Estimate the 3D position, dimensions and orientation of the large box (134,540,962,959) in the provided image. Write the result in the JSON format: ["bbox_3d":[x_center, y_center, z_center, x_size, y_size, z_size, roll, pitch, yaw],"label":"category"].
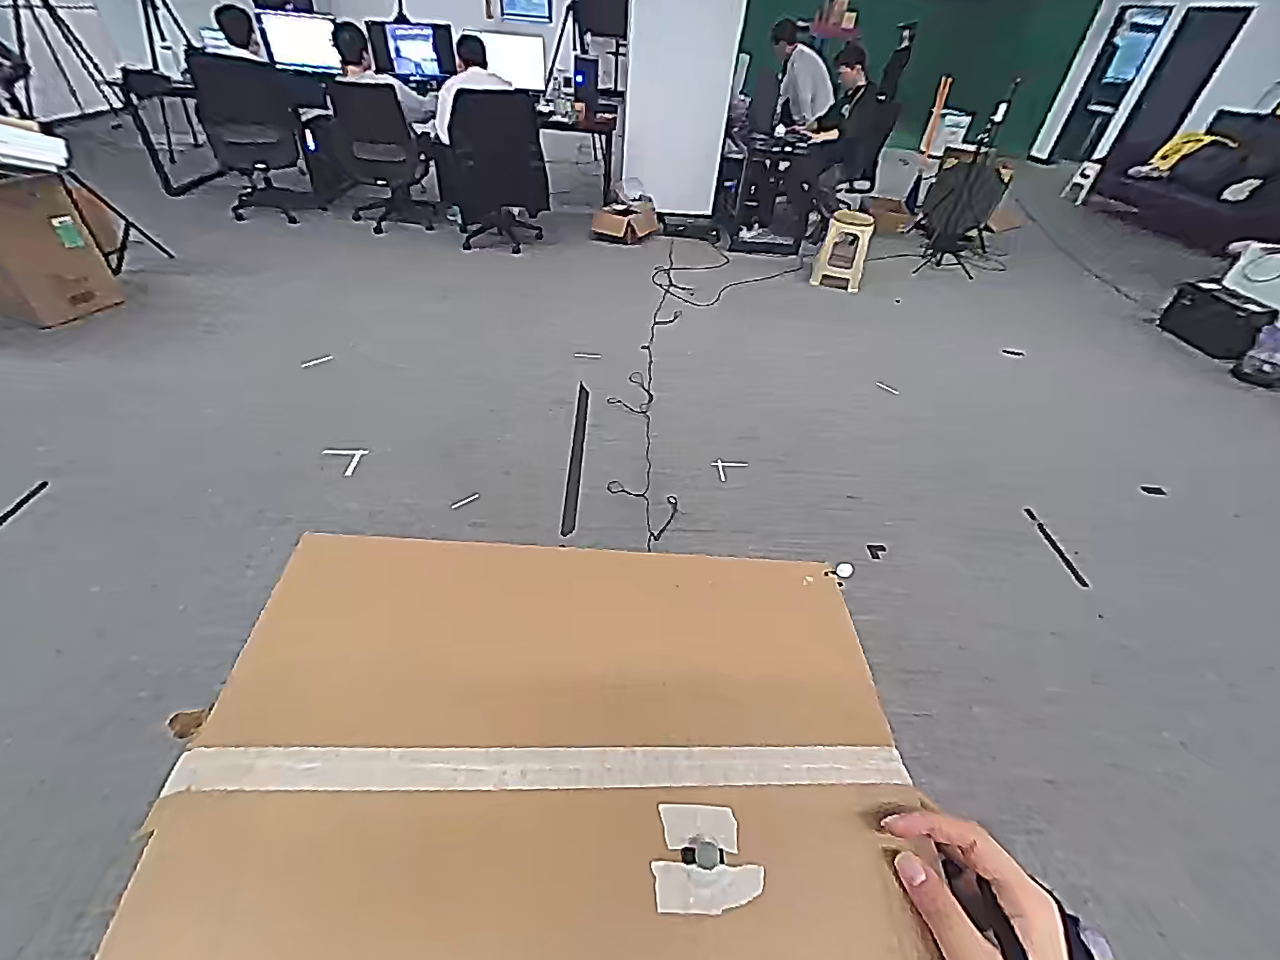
[{"bbox_3d":[-0.055,0.272,0.424,0.408,0.320,0.320,6,46,-9],"label":"large box"}]
